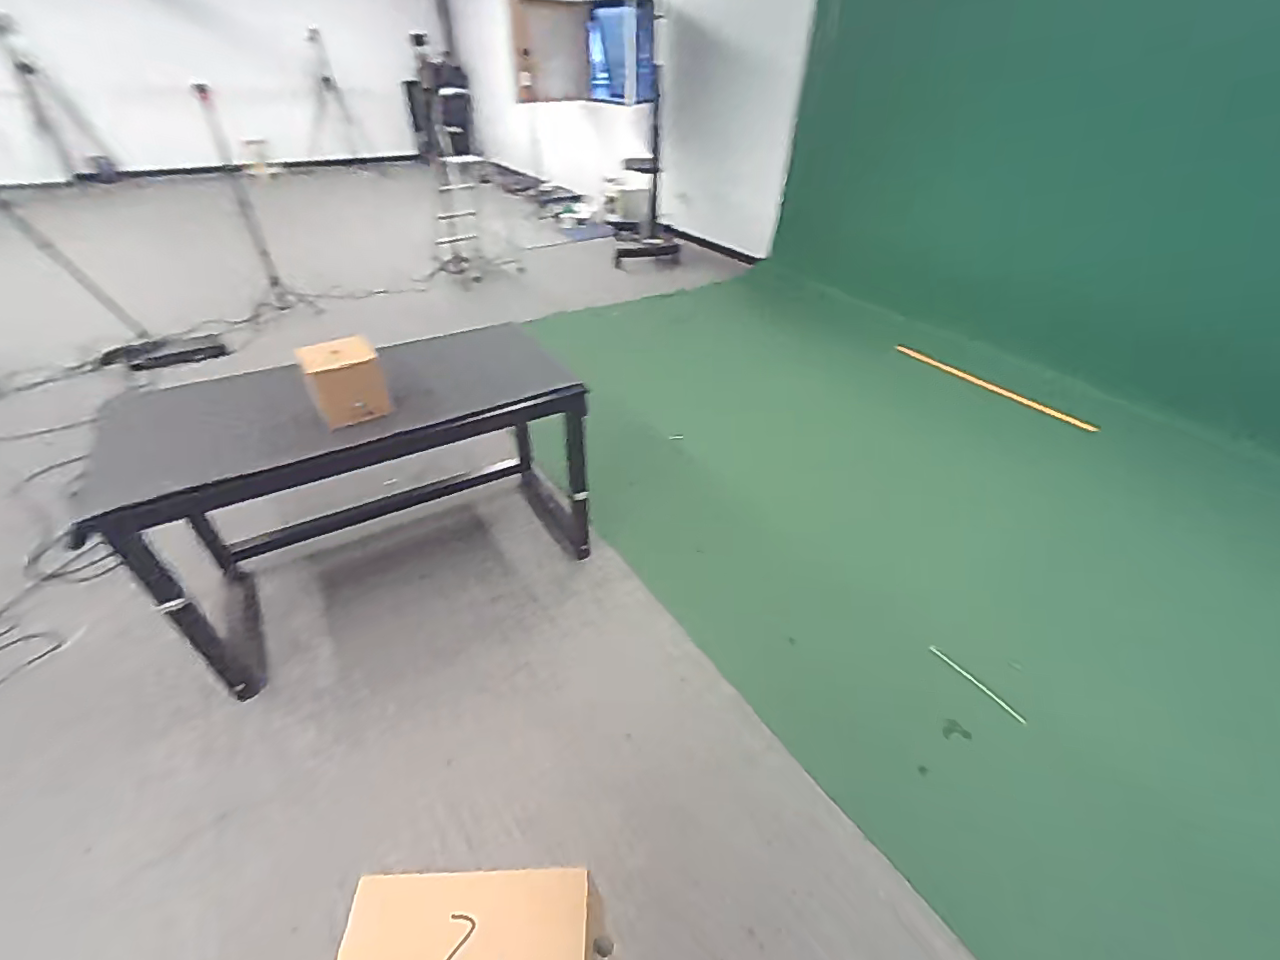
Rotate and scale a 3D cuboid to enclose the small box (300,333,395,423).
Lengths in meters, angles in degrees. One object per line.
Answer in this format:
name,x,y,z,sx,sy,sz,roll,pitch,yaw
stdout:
small box,-0.789,-0.277,1.463,0.168,0.176,0.179,-24,44,-29
